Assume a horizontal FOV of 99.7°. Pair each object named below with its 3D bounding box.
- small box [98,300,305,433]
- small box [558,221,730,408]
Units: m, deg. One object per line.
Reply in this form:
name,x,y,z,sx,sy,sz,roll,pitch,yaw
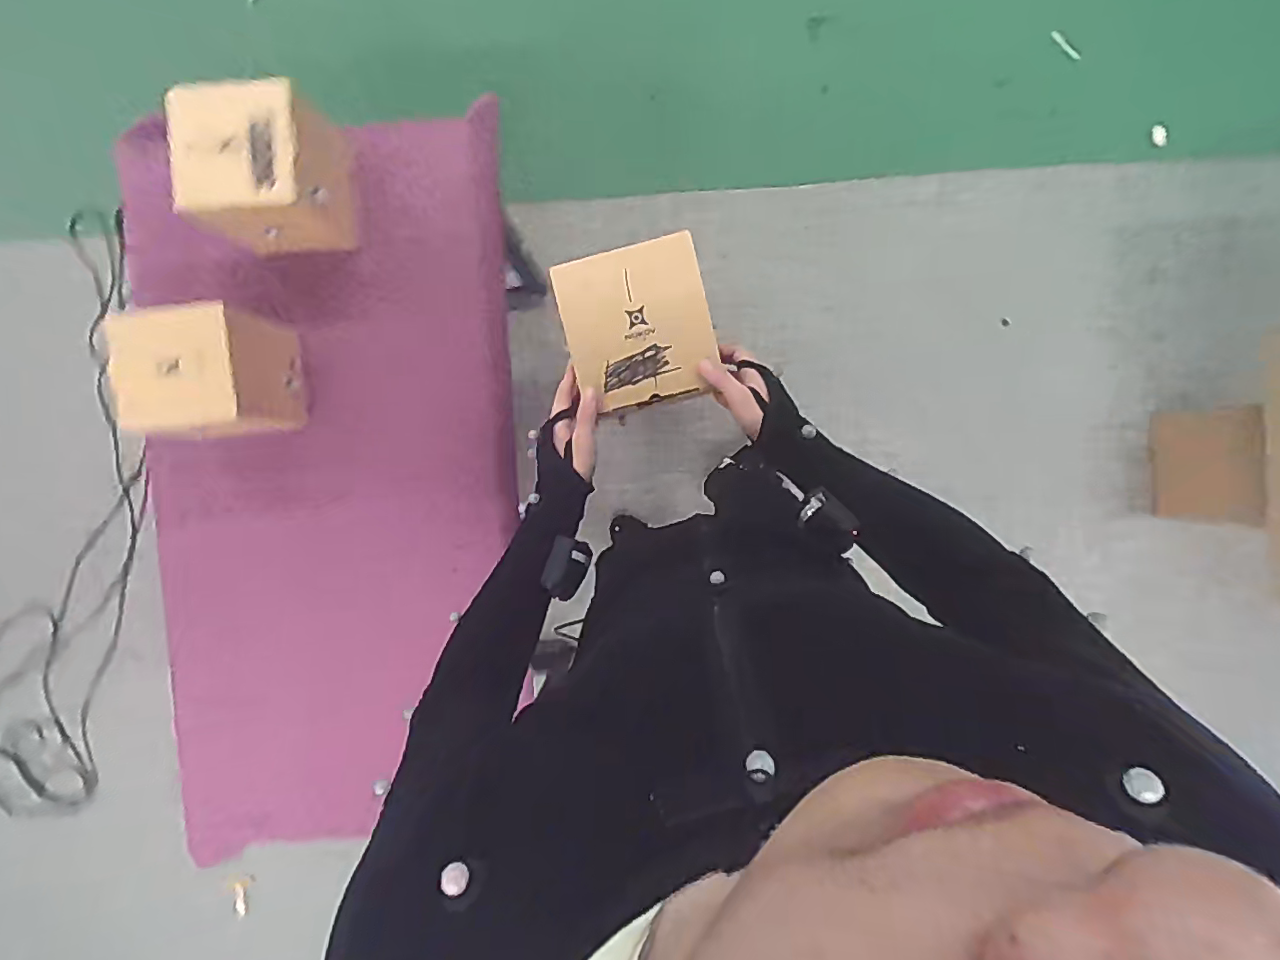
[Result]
small box,-0.661,-0.164,0.834,0.179,0.176,0.168,-6,93,1
small box,0.009,-0.191,0.682,0.168,0.176,0.179,-13,94,3
